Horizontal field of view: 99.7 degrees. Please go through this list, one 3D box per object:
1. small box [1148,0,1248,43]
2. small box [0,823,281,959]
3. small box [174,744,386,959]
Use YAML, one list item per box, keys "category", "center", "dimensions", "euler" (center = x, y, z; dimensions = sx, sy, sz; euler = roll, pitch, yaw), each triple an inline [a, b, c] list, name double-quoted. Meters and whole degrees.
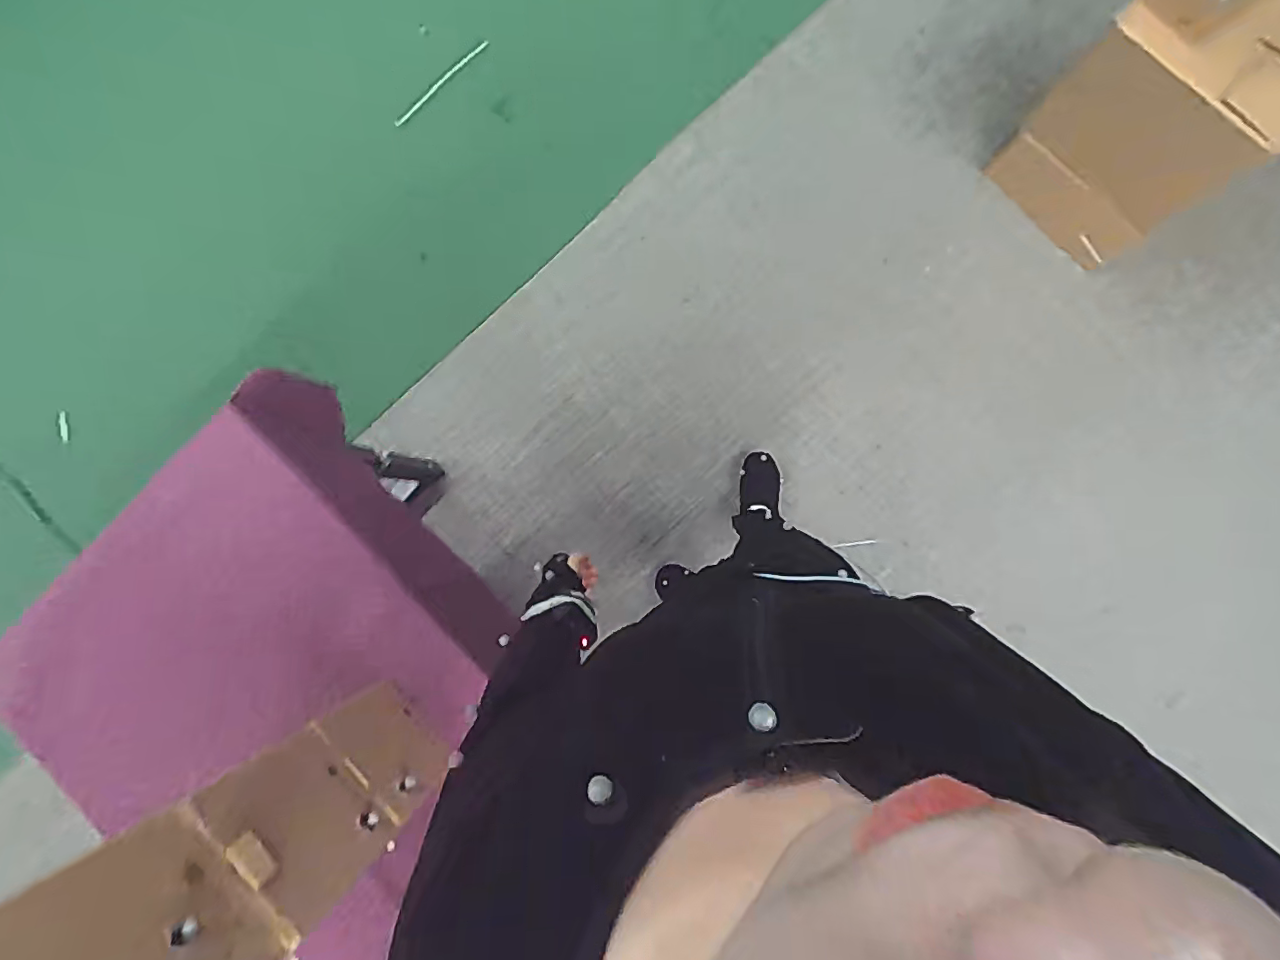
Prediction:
- category: "small box"
  center: [1.065, -0.950, 0.964]
  dimensions: [0.179, 0.176, 0.168]
  euler: [-42, 86, 2]
- category: "small box"
  center: [-0.417, 0.406, 0.388]
  dimensions: [0.168, 0.176, 0.179]
  euler: [43, 90, 7]
- category: "small box"
  center: [-0.395, 0.412, 0.550]
  dimensions: [0.168, 0.176, 0.179]
  euler: [43, 92, 6]
